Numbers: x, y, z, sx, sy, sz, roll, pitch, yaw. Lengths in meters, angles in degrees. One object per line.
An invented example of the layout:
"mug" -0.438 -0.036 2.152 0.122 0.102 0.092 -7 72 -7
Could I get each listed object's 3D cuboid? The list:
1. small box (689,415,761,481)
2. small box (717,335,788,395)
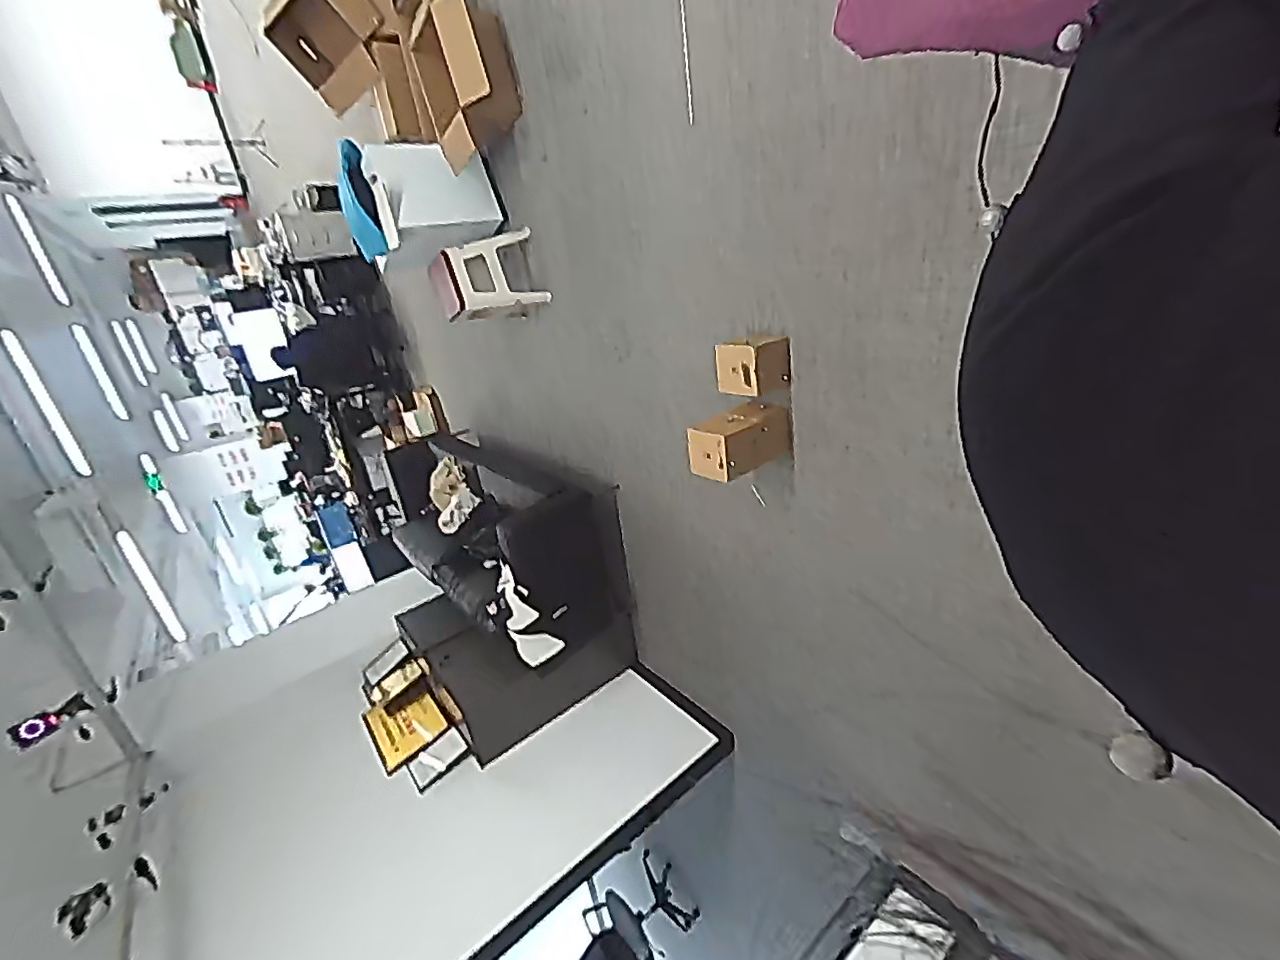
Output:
"small box" 0.289 -0.116 1.839 0.179 0.176 0.168 21 126 49
"small box" 0.385 -0.394 1.830 0.179 0.176 0.168 20 125 49
